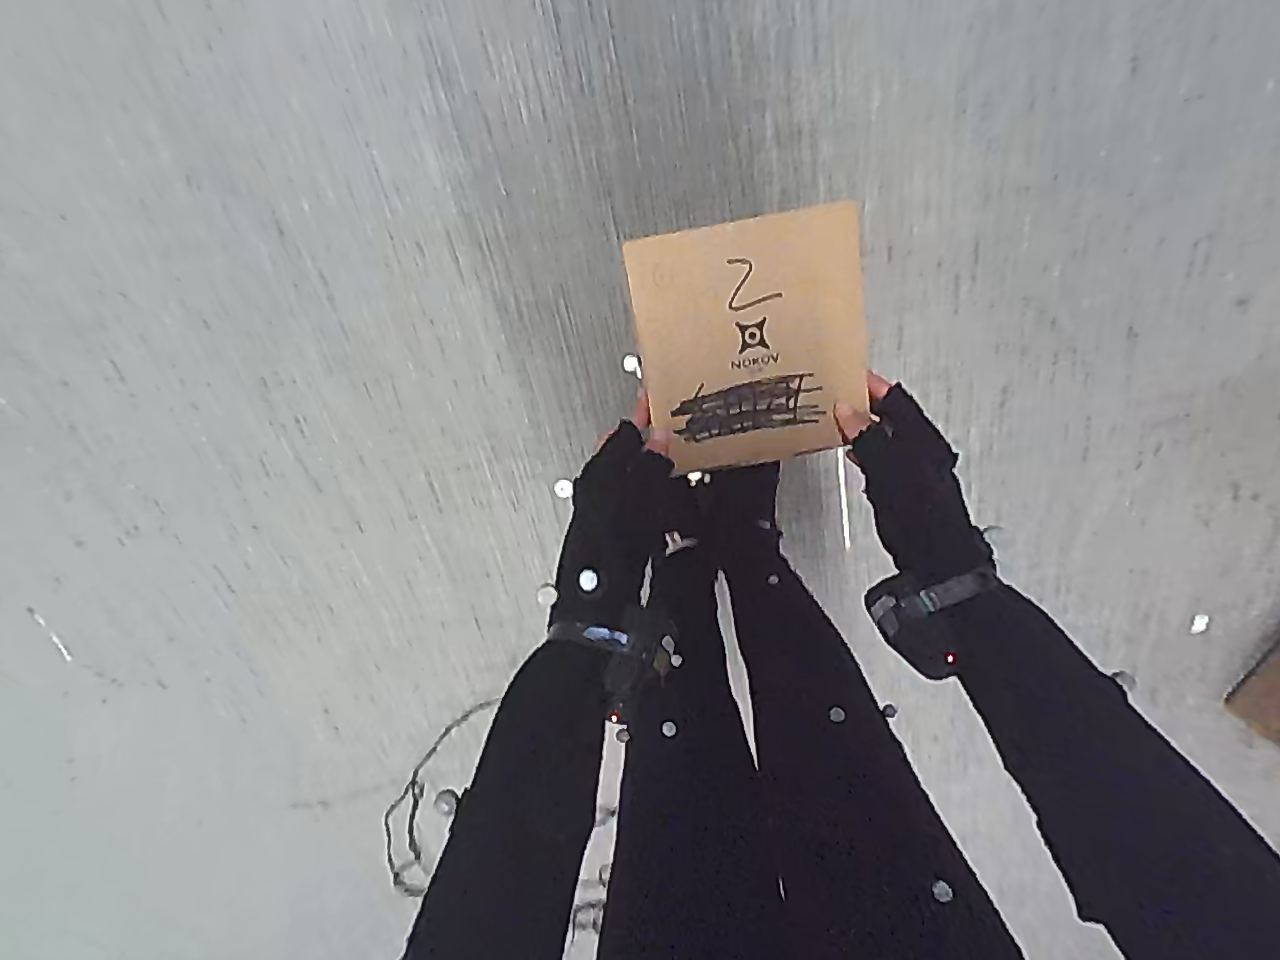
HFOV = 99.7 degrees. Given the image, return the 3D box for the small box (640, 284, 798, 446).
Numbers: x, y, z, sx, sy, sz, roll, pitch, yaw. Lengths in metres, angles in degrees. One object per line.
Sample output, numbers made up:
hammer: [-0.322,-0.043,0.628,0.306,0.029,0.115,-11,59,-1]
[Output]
small box: [0.102,-0.168,0.756,0.179,0.176,0.168,-14,111,7]
